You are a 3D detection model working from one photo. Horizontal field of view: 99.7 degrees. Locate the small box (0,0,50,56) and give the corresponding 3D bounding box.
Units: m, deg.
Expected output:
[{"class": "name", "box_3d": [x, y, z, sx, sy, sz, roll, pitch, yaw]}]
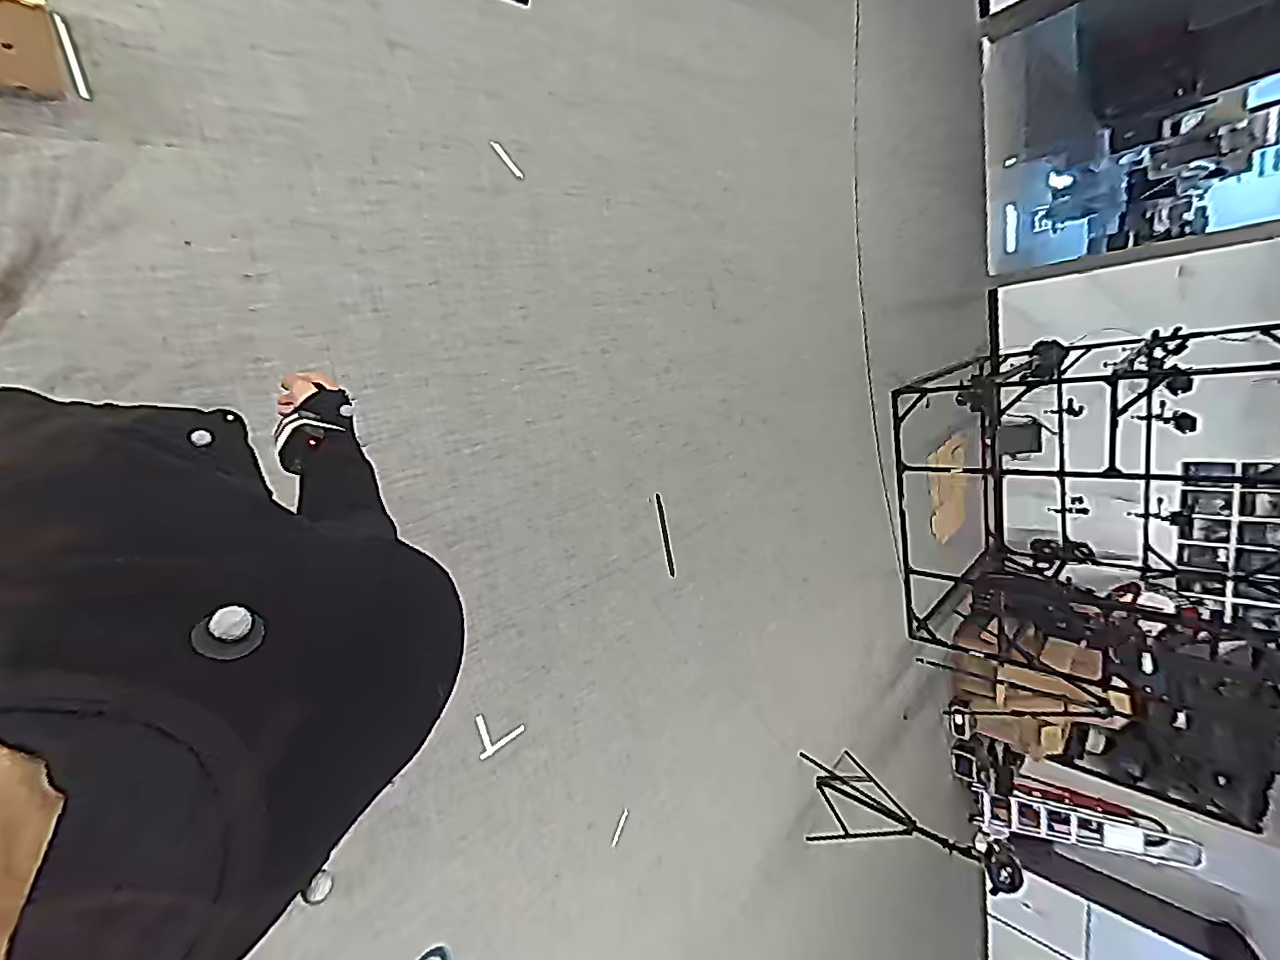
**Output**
[{"class": "small box", "box_3d": [-1.089, -0.830, 0.857, 0.168, 0.176, 0.179, -22, 107, -41]}]
